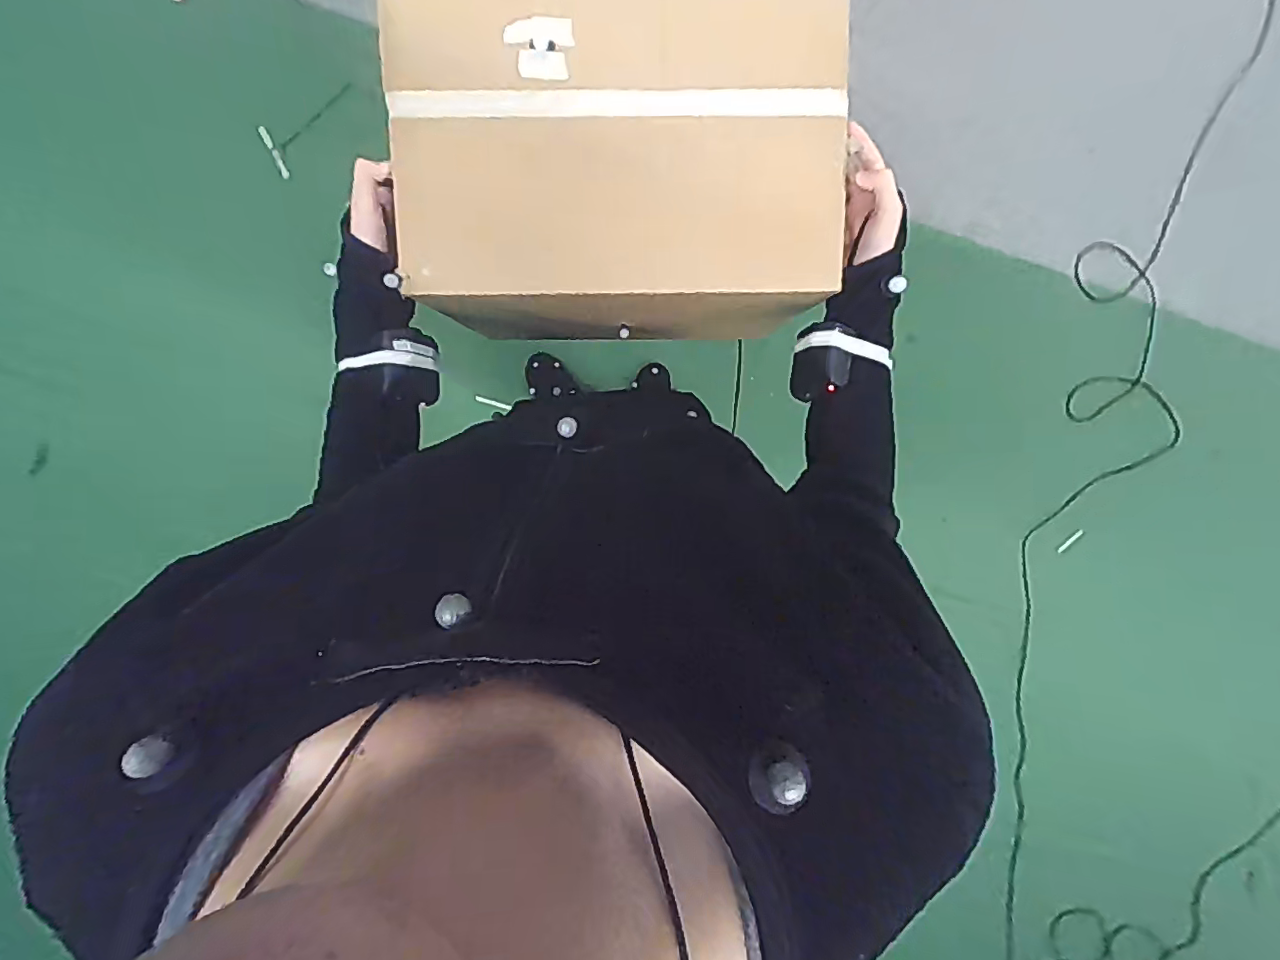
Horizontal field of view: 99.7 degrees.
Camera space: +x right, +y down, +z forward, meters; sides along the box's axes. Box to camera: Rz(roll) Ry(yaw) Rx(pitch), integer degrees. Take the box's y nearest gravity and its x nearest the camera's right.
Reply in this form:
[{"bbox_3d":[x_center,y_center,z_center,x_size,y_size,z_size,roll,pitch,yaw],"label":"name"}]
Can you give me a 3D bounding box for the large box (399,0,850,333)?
[{"bbox_3d":[-0.013,-0.347,0.634,0.408,0.320,0.320,0,97,-1],"label":"large box"}]
